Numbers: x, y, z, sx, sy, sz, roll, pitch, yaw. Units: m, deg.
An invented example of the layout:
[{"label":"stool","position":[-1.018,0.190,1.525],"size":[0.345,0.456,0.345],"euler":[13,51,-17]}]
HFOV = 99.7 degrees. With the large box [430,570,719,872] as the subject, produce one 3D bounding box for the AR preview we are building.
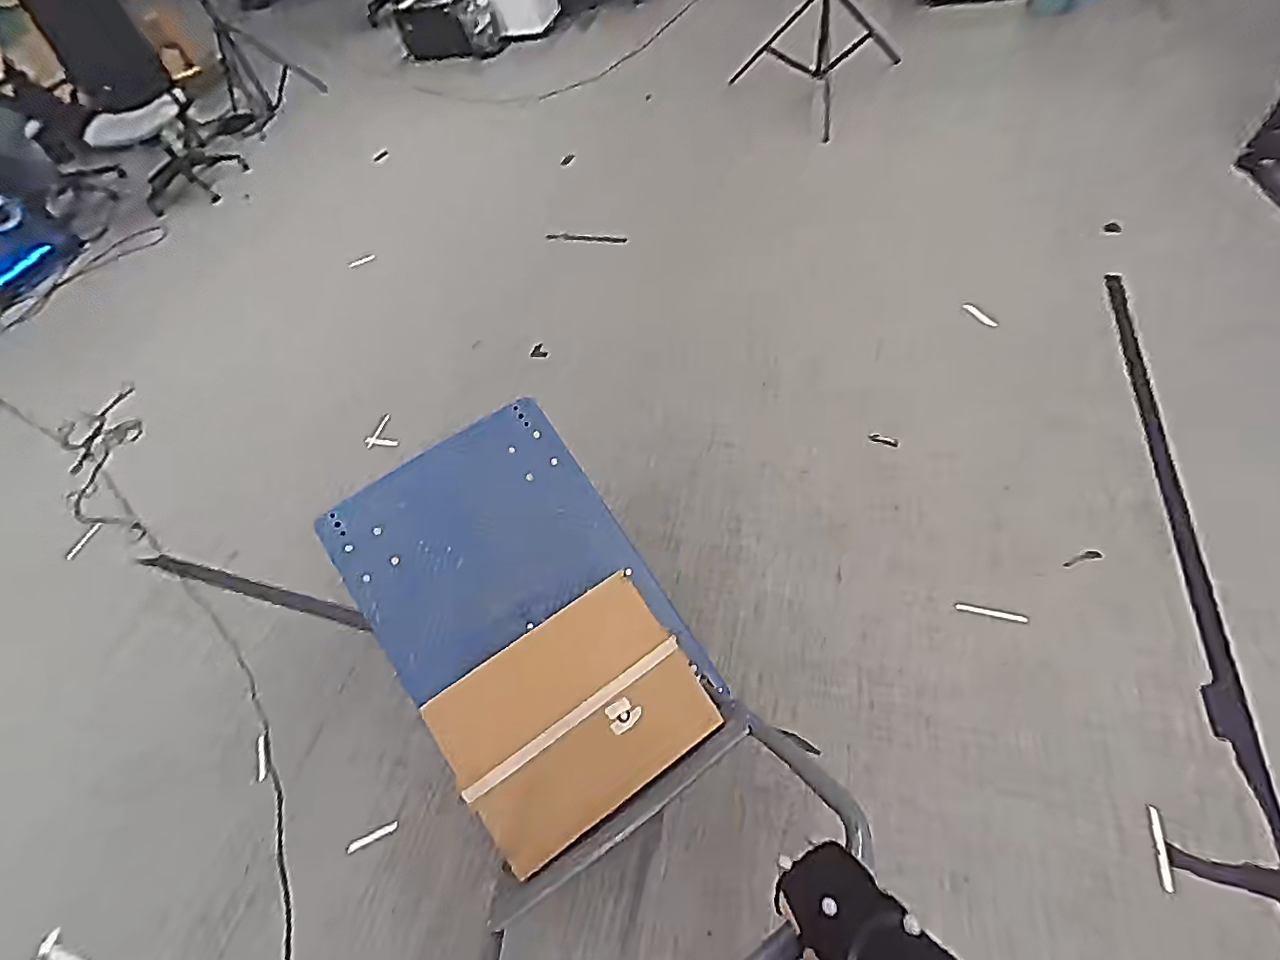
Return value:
[{"label":"large box","position":[-0.121,0.430,1.059],"size":[0.408,0.320,0.320],"euler":[-34,82,-13]}]
